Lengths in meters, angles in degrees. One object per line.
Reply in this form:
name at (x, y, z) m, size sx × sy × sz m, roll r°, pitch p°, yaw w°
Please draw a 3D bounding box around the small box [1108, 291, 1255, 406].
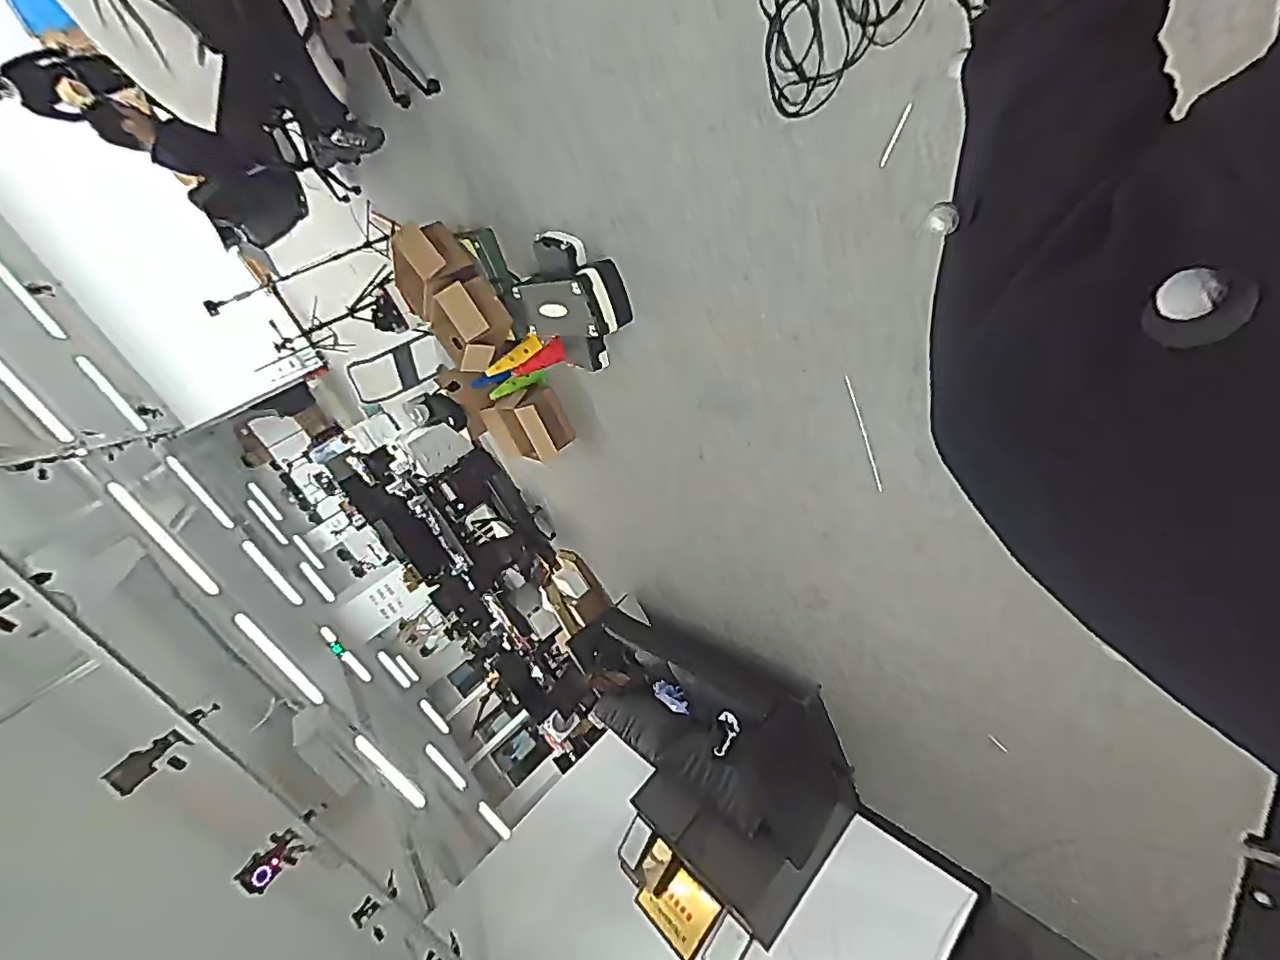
small box at (1.089, -0.268, 1.096) m, size 0.179 × 0.176 × 0.168 m, roll 16°, pitch 138°, yaw 50°
